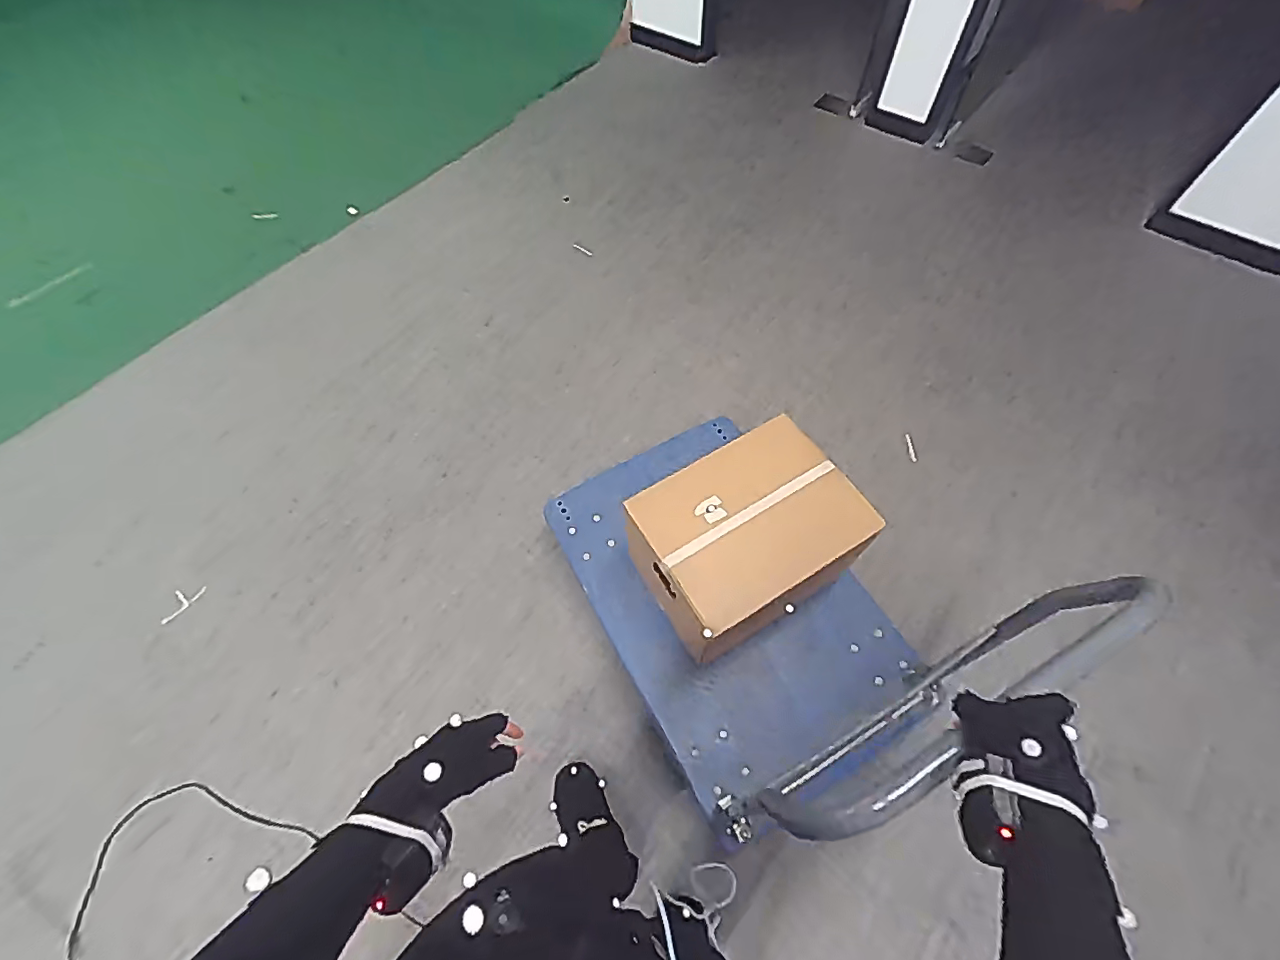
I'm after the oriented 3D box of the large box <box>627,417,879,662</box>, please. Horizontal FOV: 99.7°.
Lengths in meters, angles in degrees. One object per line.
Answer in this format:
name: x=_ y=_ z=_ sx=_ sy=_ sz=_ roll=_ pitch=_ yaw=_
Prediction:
large box: x=0.225 y=0.139 z=1.188 sx=0.408 sy=0.320 sz=0.320 roll=-30 pitch=63 yaw=-12
